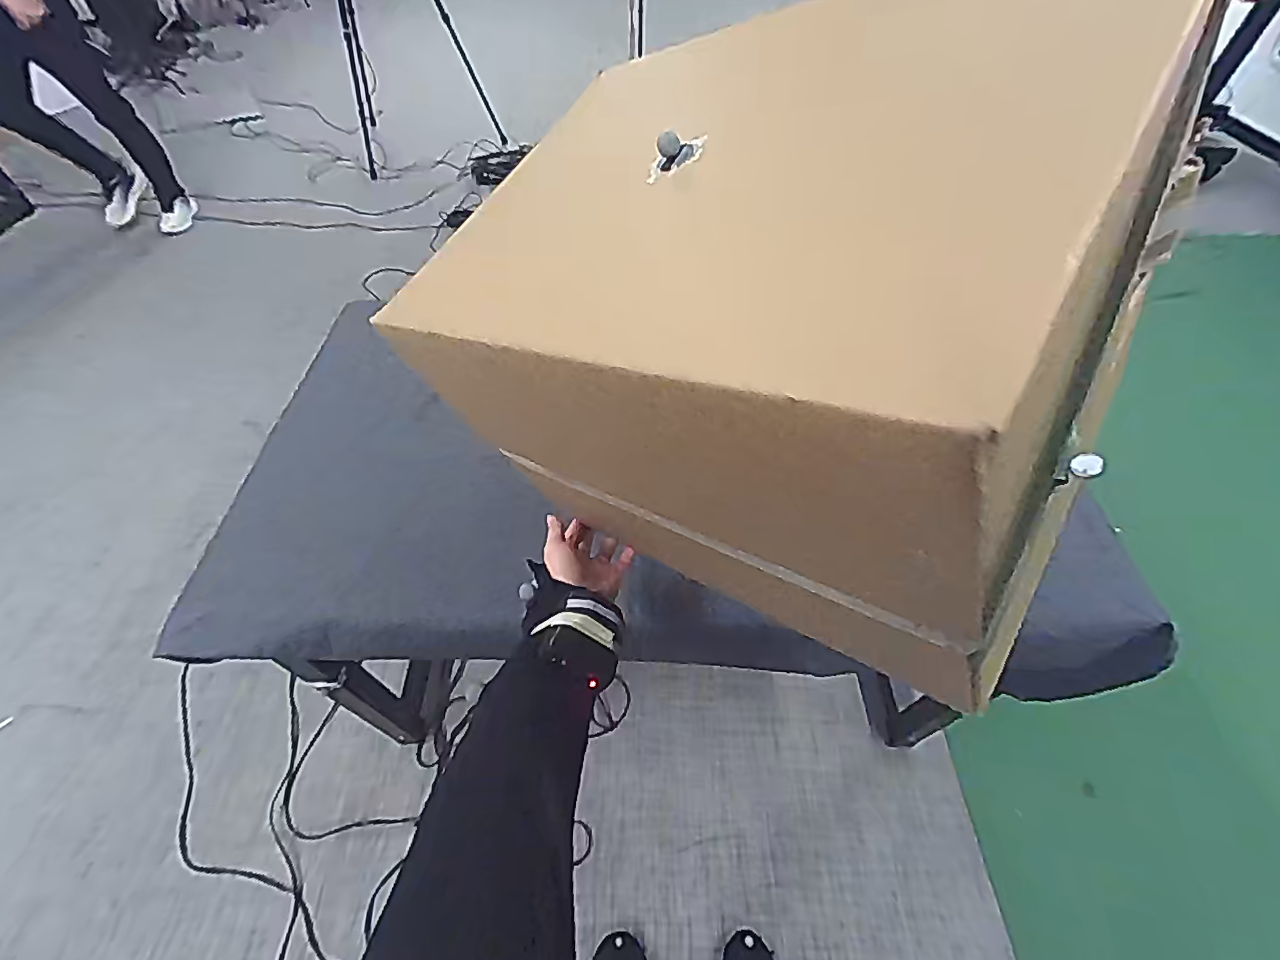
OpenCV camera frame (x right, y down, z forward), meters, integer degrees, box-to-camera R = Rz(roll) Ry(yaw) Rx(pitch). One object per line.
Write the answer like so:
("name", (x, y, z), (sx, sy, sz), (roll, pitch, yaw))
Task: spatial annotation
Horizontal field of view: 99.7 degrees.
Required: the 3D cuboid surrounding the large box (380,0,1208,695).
("large box", (0.092, -0.096, 0.420), (0.408, 0.320, 0.320), (19, 68, 39))
